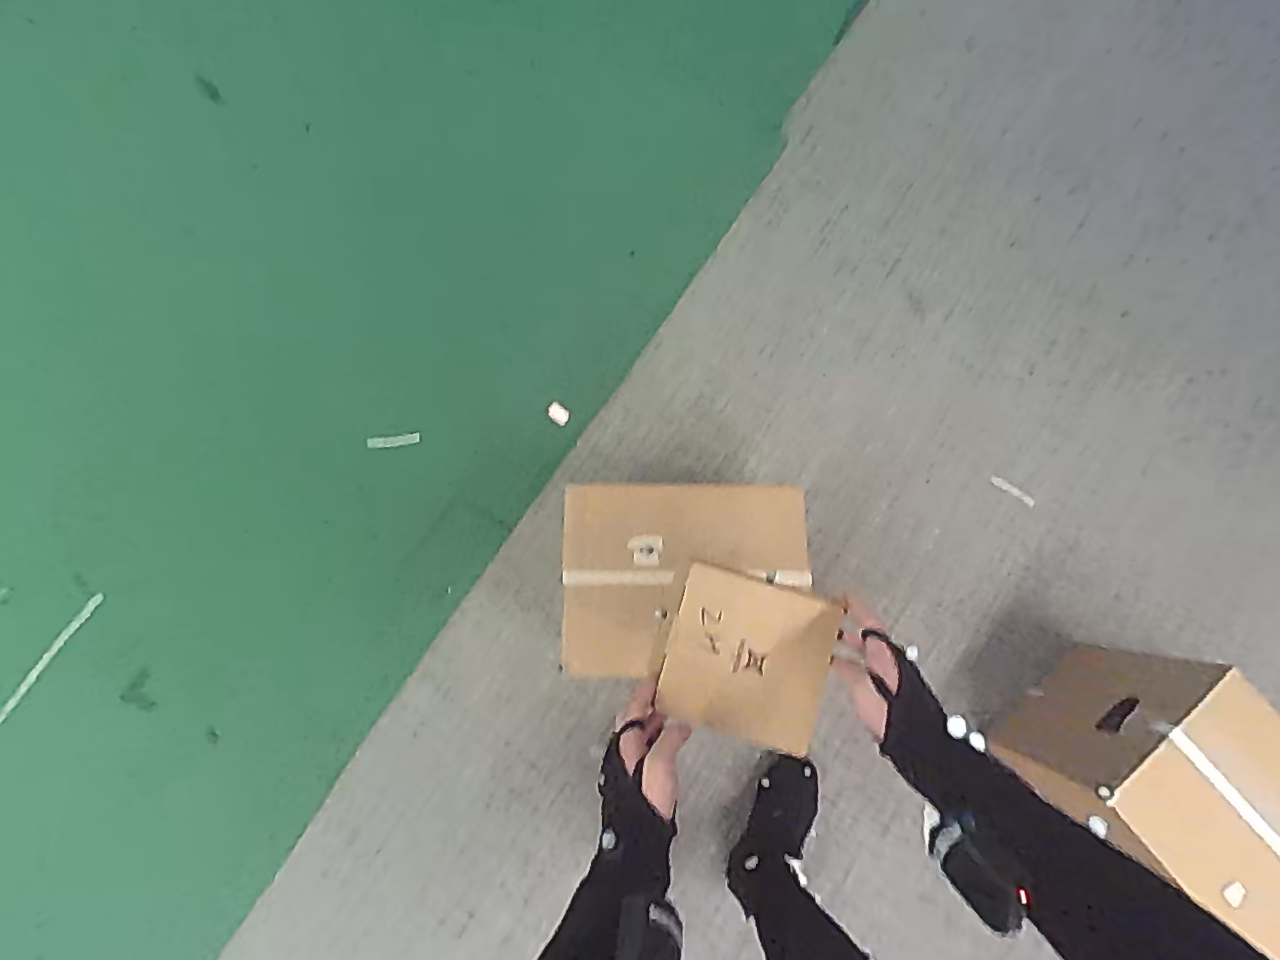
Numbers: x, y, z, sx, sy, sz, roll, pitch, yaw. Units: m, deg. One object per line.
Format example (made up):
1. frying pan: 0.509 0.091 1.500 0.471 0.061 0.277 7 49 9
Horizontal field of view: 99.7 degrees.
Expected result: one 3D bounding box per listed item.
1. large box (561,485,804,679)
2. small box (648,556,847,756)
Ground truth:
1. large box: 0.074 0.190 1.033 0.408 0.320 0.320 0 79 0
2. small box: 0.115 0.194 0.652 0.179 0.176 0.168 18 85 2
